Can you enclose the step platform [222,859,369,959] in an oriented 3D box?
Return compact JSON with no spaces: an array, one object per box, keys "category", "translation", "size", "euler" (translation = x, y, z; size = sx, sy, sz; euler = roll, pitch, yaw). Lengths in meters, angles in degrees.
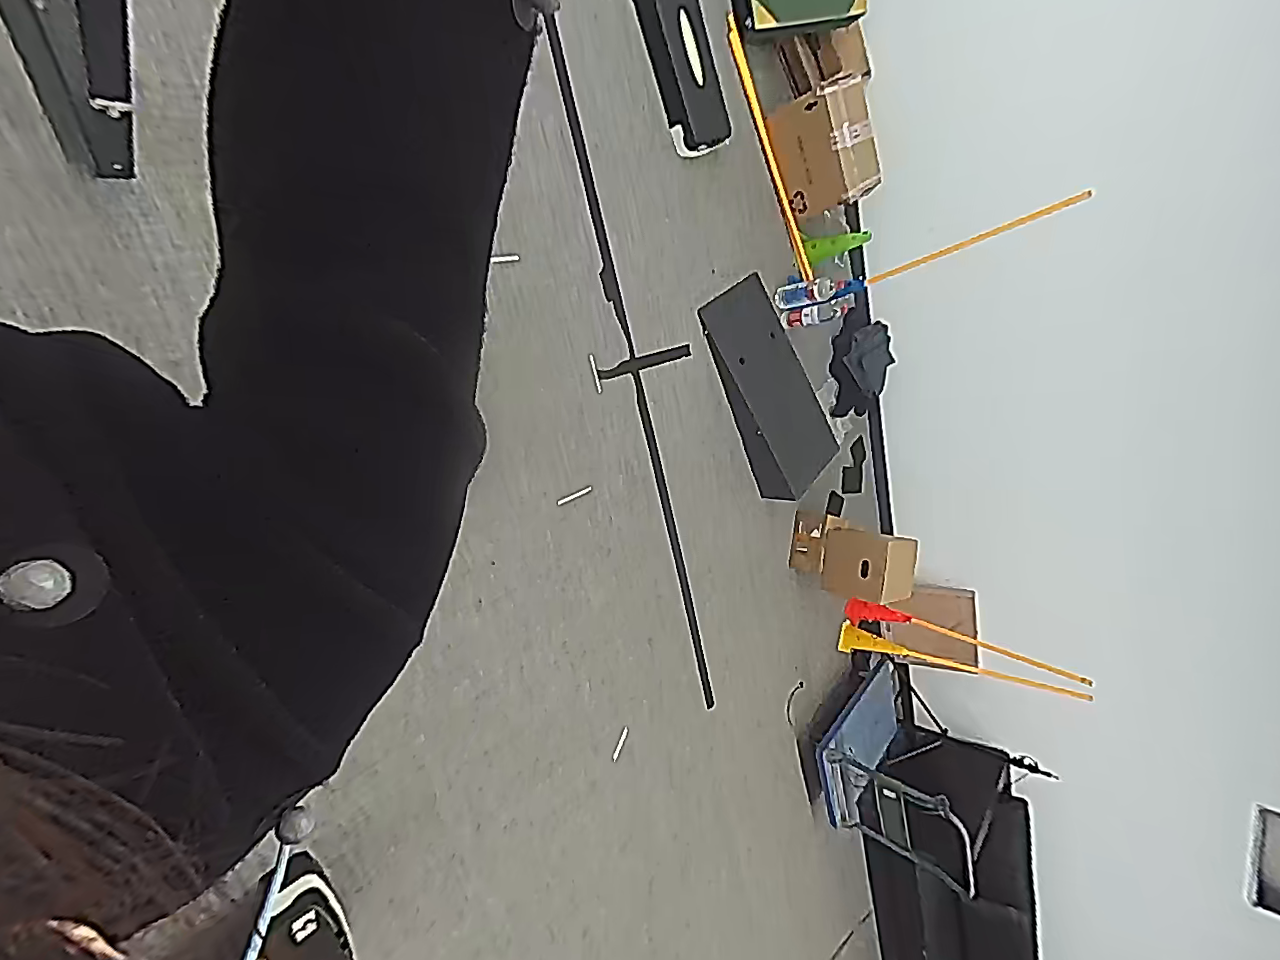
[{"category":"step platform","translation":[-0.953,1.173,1.137],"size":[0.684,0.204,0.286],"euler":[-19,105,-42]}]
